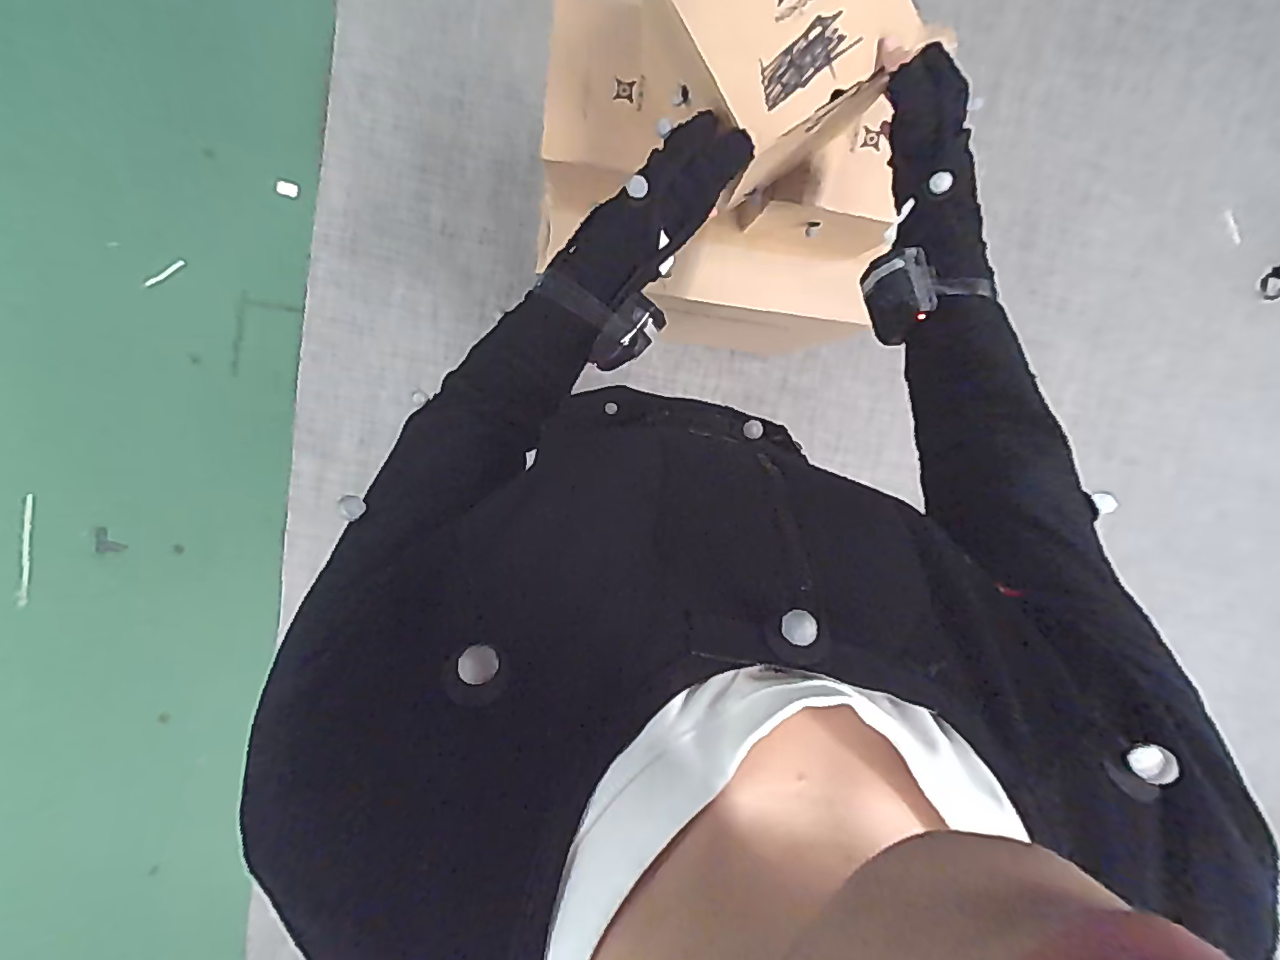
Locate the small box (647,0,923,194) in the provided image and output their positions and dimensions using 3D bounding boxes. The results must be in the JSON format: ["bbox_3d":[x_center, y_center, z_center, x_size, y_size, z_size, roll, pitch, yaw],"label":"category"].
[{"bbox_3d":[0.119,-0.403,0.511,0.168,0.176,0.179,-32,99,5],"label":"small box"}]

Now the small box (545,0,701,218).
[{"bbox_3d":[-0.012,-0.440,0.668,0.179,0.176,0.168,7,100,-2],"label":"small box"}]
